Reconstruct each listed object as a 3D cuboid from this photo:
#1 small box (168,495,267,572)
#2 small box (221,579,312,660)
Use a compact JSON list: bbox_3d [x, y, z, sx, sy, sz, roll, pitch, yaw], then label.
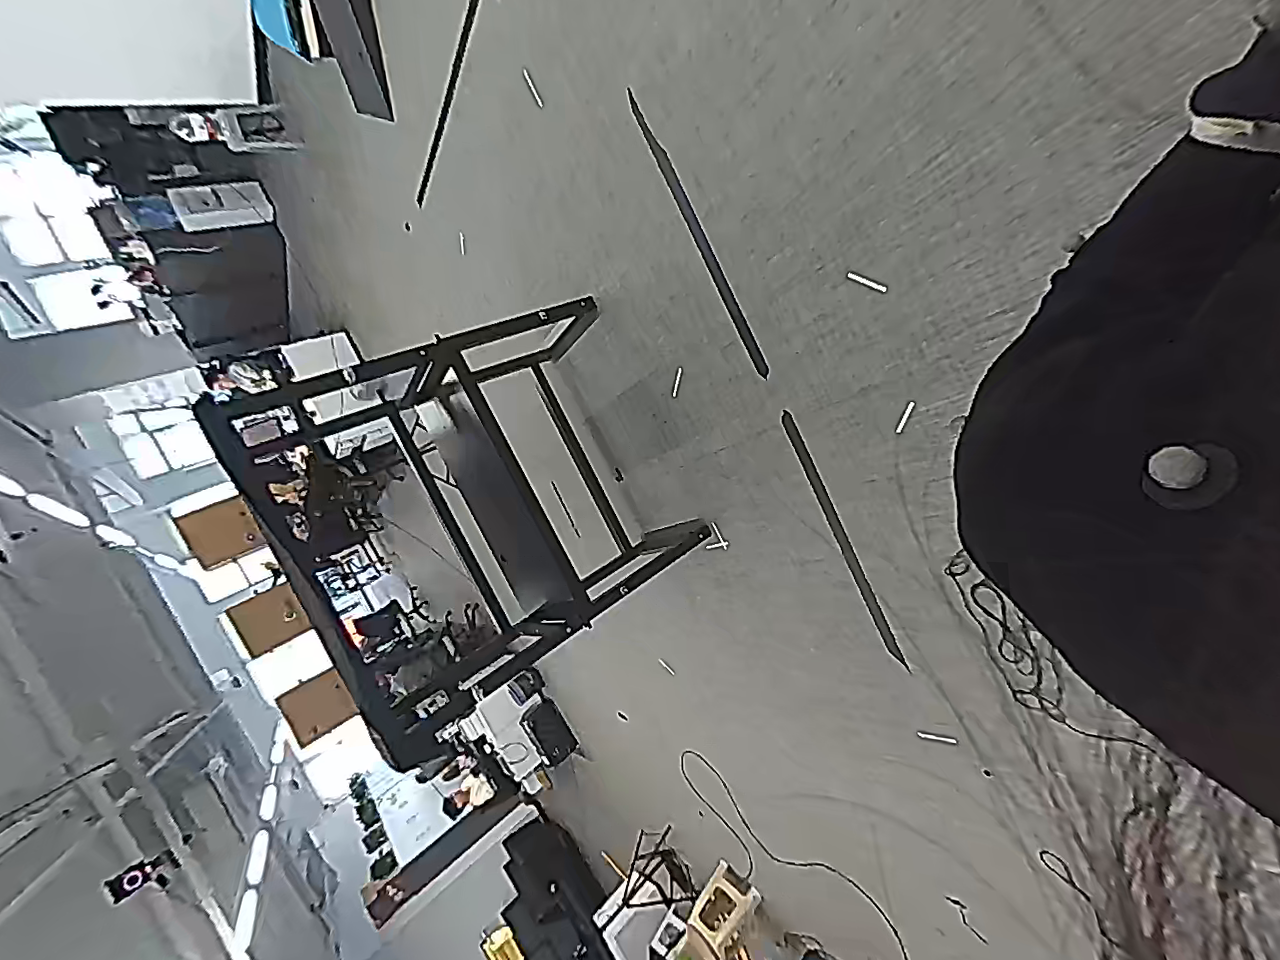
[{"bbox_3d":[-1.230,0.156,1.589,0.179,0.176,0.168,-18,100,57],"label":"small box"},{"bbox_3d":[-1.097,0.406,1.601,0.179,0.176,0.168,-17,101,57],"label":"small box"}]
